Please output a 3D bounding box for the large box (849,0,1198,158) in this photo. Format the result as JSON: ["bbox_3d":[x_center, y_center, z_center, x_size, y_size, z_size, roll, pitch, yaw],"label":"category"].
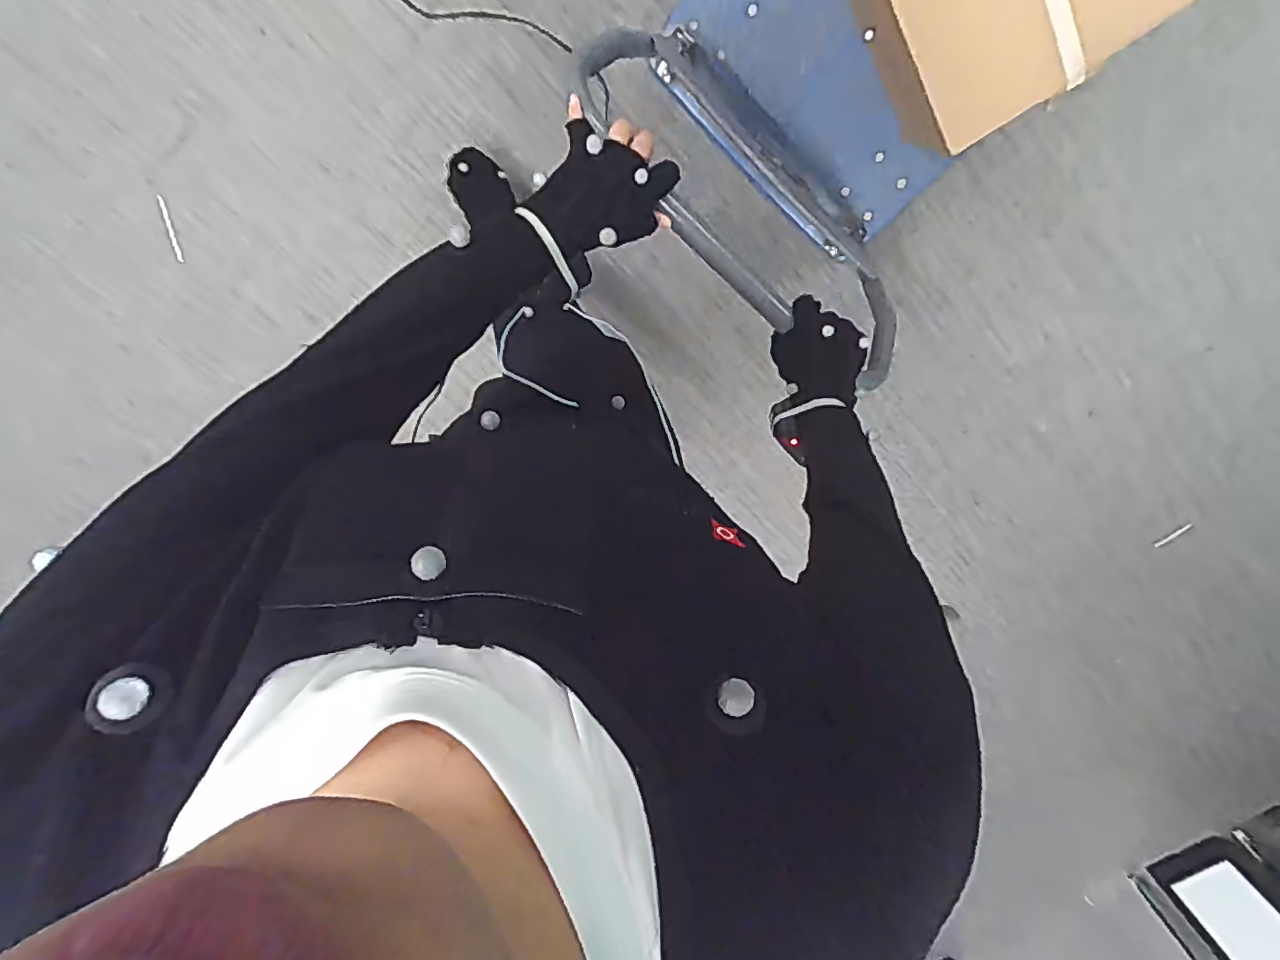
[{"bbox_3d":[0.490,-0.761,0.777,0.320,0.320,0.408,-26,115,27],"label":"large box"}]
